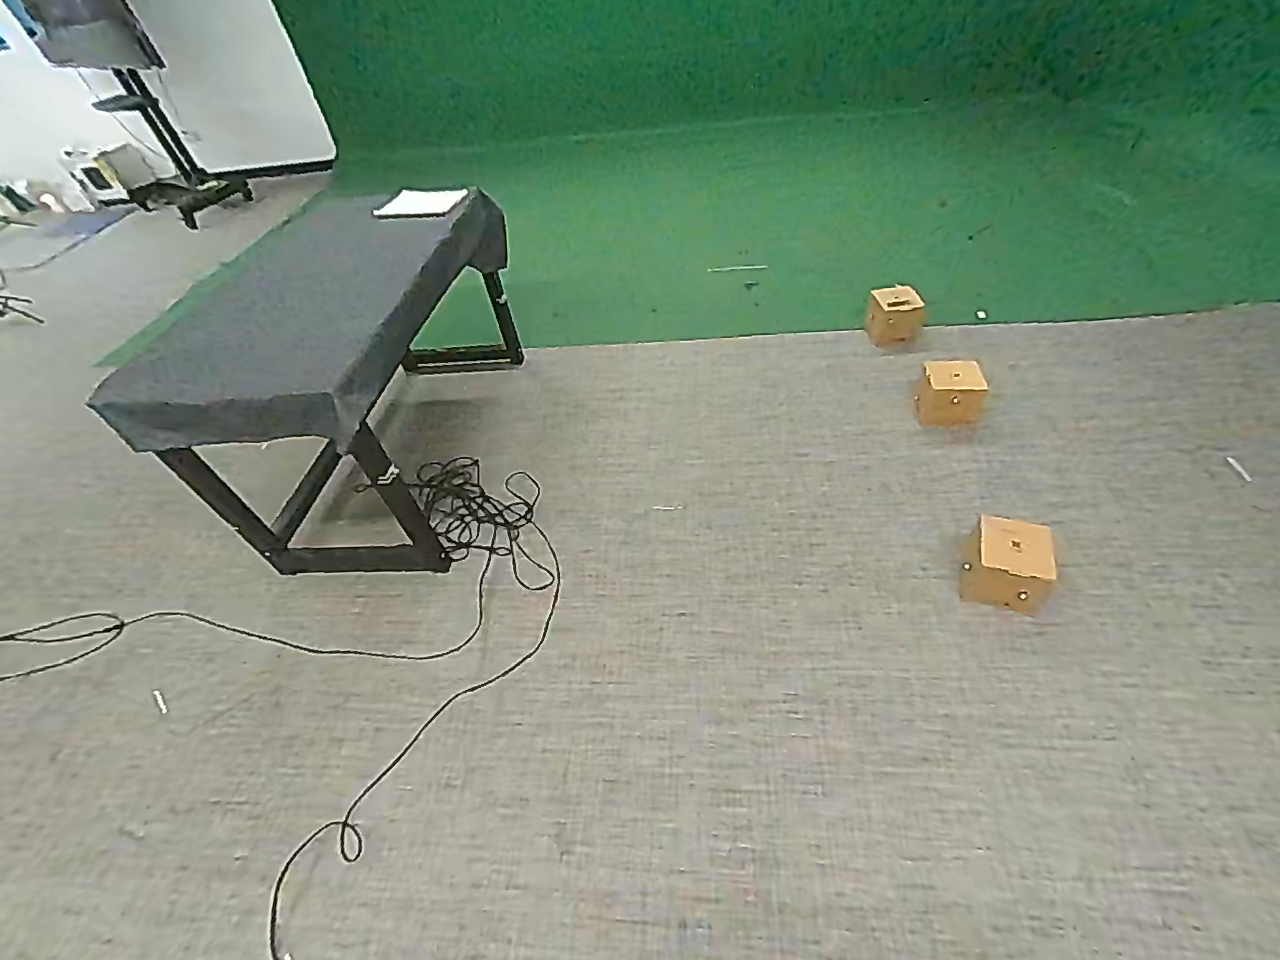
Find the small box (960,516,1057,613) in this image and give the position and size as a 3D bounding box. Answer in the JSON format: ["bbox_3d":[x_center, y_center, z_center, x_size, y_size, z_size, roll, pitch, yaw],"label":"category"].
[{"bbox_3d":[0.972,0.229,1.441,0.168,0.176,0.179,12,49,18],"label":"small box"}]

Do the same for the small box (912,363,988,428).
[{"bbox_3d":[1.094,-0.296,1.919,0.179,0.176,0.168,1,47,11],"label":"small box"}]
